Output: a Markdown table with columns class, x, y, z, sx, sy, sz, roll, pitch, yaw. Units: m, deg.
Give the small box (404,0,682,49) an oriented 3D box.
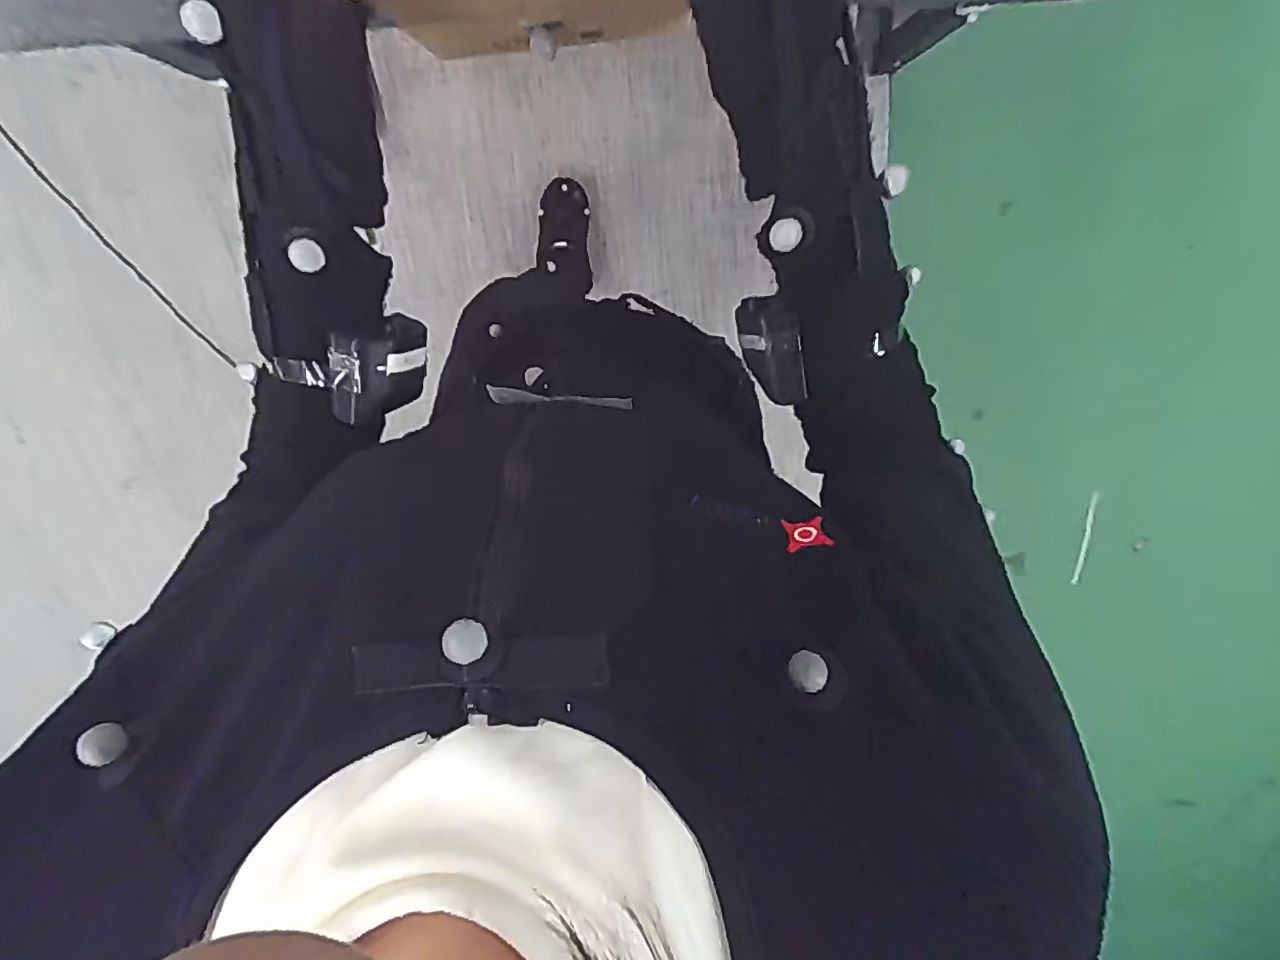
| class | x | y | z | sx | sy | sz | roll | pitch | yaw |
| --- | --- | --- | --- | --- | --- | --- | --- | --- | --- |
| small box | -0.060 | -0.332 | 0.242 | 0.168 | 0.176 | 0.179 | -5 | 116 | 2 |
